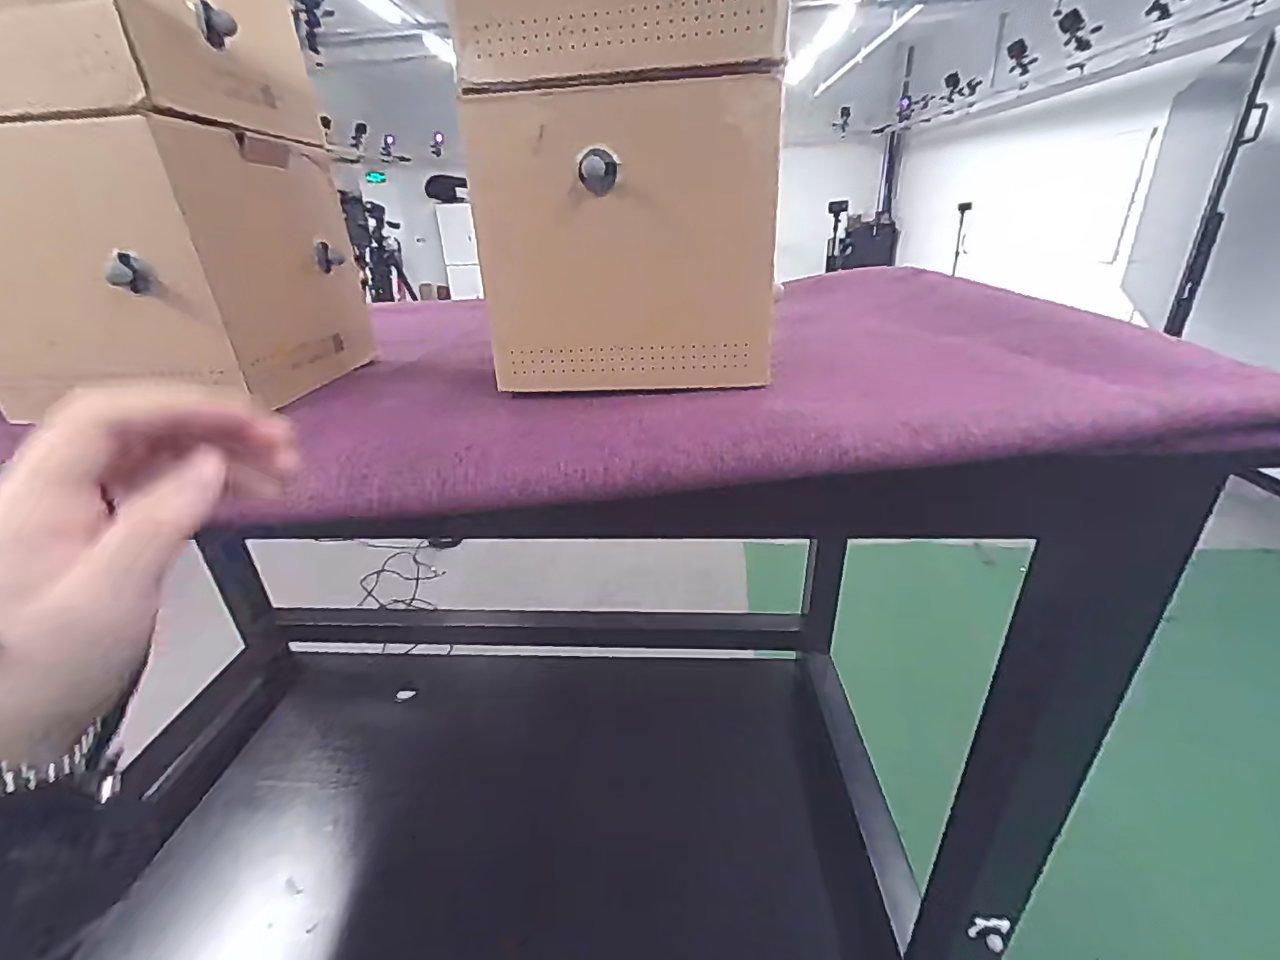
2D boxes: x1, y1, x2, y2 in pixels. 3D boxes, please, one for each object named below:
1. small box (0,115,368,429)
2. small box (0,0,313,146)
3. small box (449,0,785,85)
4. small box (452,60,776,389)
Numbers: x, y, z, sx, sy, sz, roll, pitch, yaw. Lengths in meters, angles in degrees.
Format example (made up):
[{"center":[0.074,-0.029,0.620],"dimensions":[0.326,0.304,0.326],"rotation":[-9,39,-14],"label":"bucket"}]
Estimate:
[{"center":[-0.328,-0.143,0.384],"dimensions":[0.179,0.176,0.168],"rotation":[-3,26,3],"label":"small box"},{"center":[-0.338,-0.291,0.316],"dimensions":[0.179,0.176,0.168],"rotation":[-2,26,1],"label":"small box"},{"center":[-0.010,-0.314,0.318],"dimensions":[0.179,0.176,0.168],"rotation":[-1,24,7],"label":"small box"},{"center":[-0.005,-0.164,0.383],"dimensions":[0.179,0.176,0.168],"rotation":[0,24,5],"label":"small box"}]
